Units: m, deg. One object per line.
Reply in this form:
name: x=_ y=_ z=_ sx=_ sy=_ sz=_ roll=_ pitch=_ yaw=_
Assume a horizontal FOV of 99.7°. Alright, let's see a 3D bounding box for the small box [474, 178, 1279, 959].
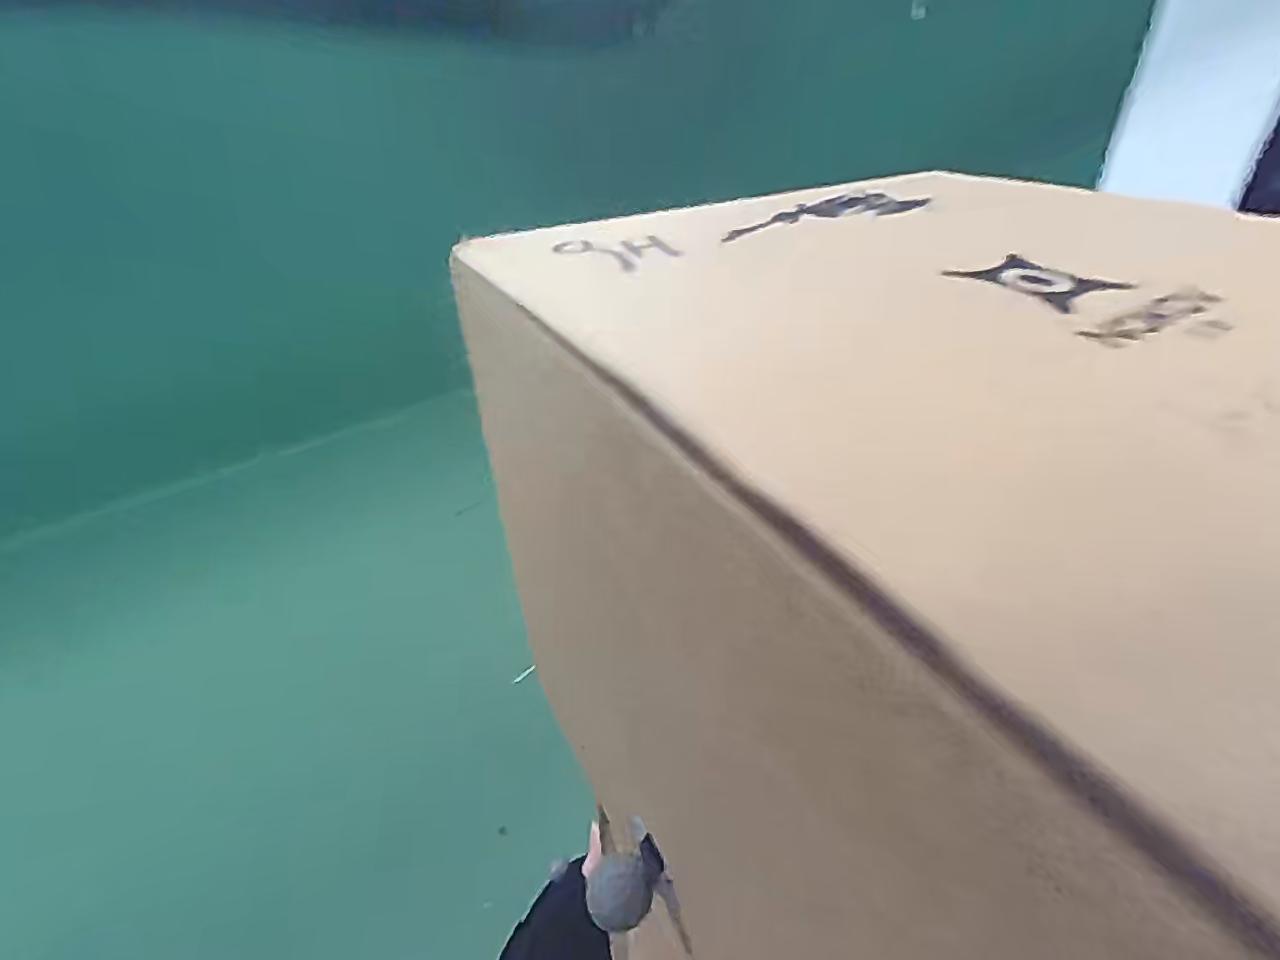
small box: x=0.073 y=0.036 z=0.143 sx=0.168 sy=0.176 sz=0.179 roll=-18 pitch=42 yaw=-22
